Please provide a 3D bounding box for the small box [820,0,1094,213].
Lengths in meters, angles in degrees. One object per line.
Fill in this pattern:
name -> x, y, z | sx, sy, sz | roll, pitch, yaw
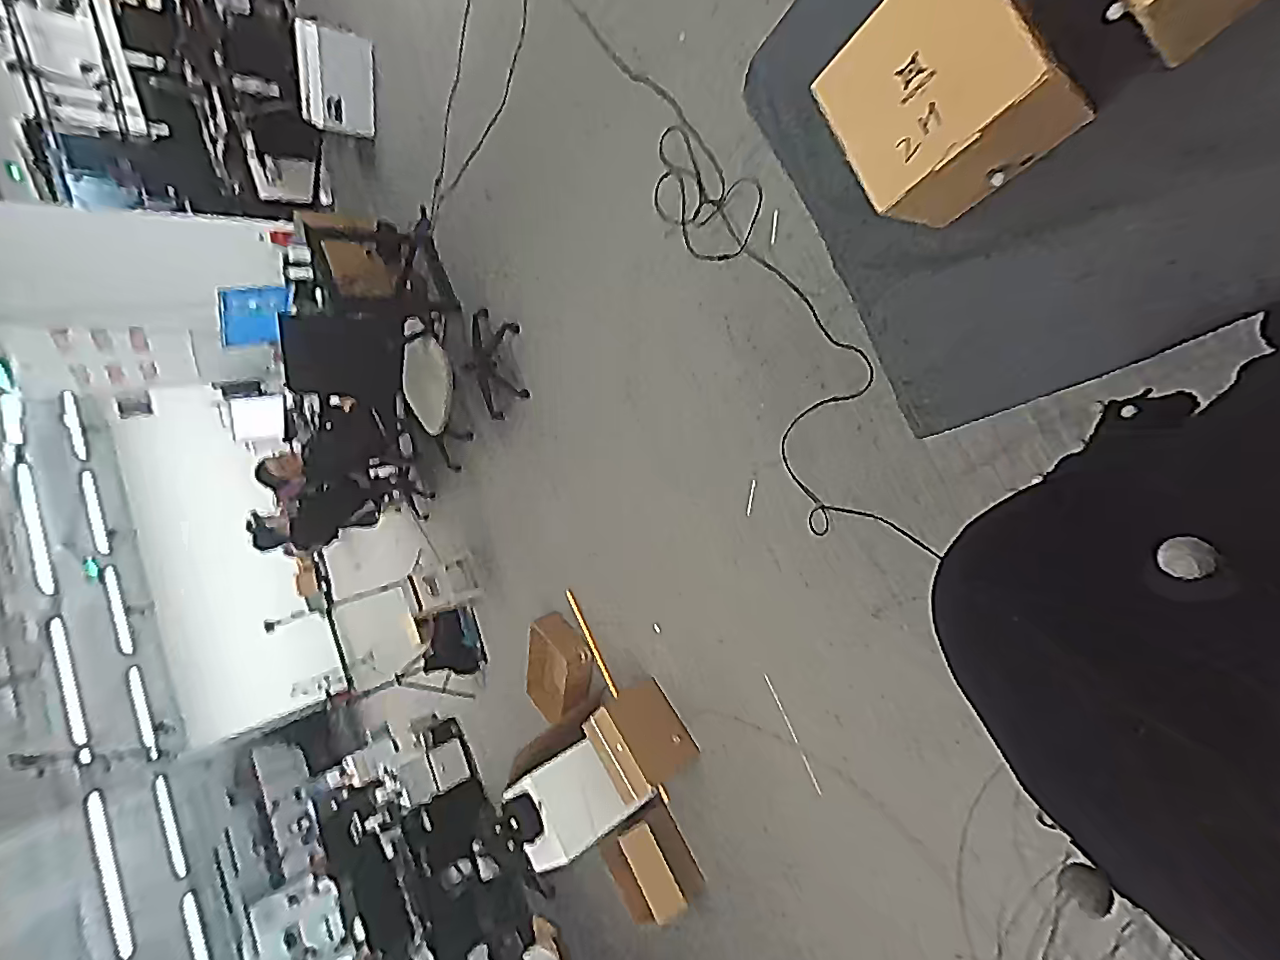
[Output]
small box -> 0.333, -0.413, 0.574 | 0.168, 0.176, 0.179 | -33, 76, 50
